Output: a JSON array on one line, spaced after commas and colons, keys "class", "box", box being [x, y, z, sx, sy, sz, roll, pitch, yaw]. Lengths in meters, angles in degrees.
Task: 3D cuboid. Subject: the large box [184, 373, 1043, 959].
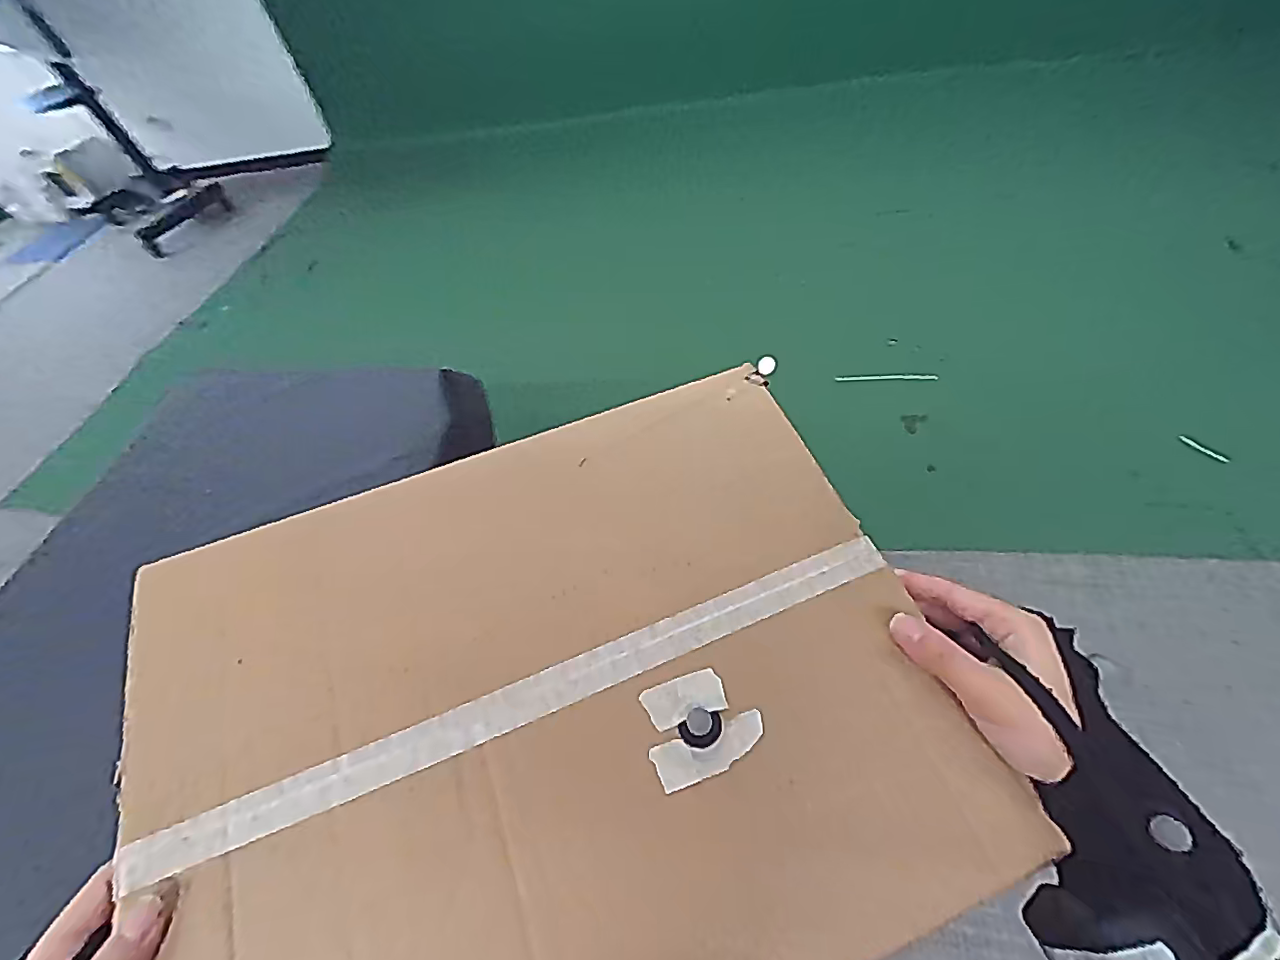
[{"class": "large box", "box": [-0.037, 0.180, 0.428, 0.408, 0.320, 0.320, -19, 63, -11]}]
